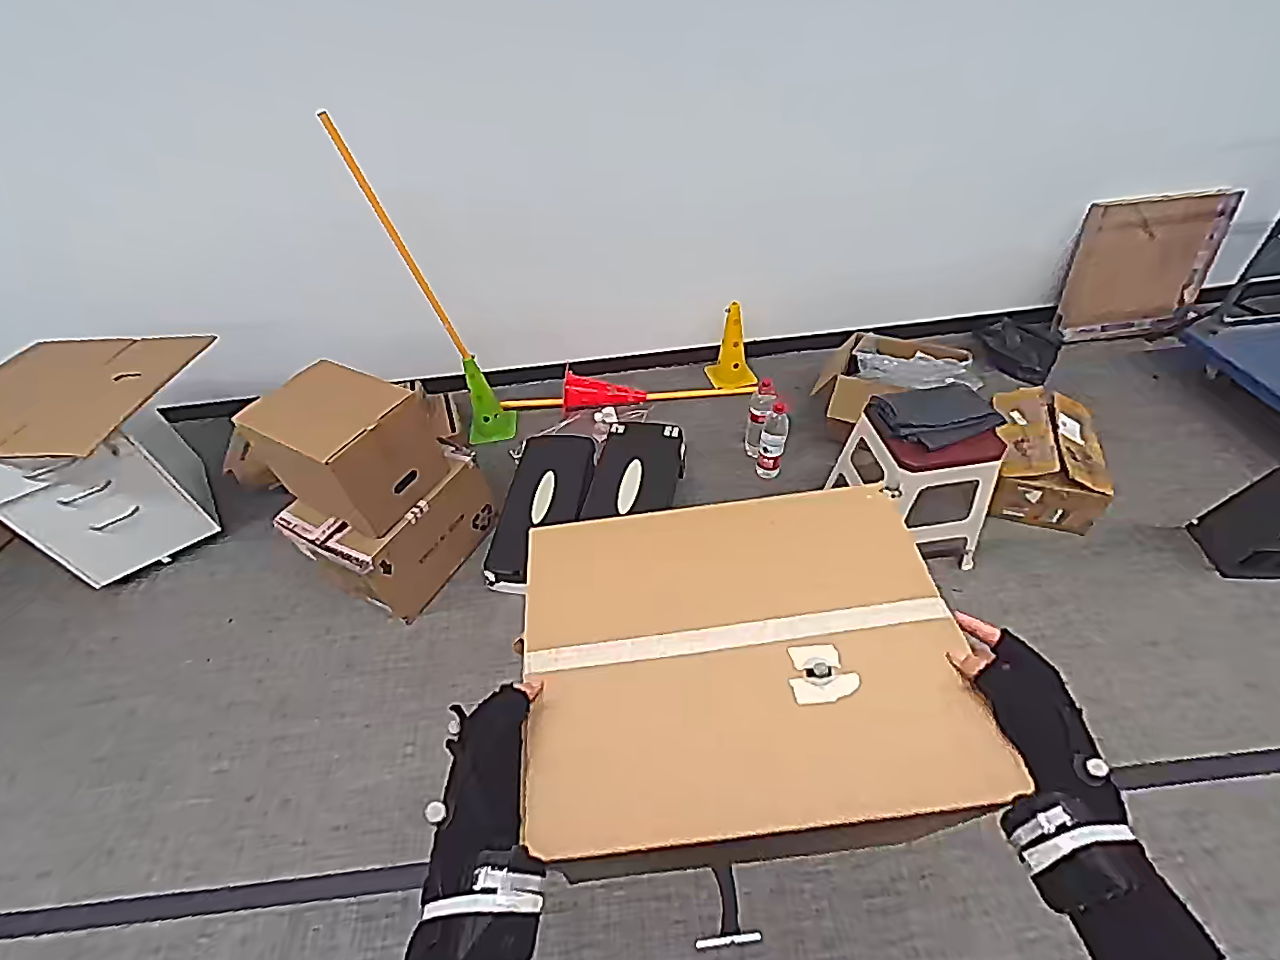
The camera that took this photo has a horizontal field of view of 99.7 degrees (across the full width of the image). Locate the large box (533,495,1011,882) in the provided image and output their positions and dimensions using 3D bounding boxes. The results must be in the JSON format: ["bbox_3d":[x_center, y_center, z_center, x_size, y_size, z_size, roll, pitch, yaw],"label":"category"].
[{"bbox_3d":[0.103,0.255,0.645,0.408,0.320,0.320,-8,52,0],"label":"large box"}]
